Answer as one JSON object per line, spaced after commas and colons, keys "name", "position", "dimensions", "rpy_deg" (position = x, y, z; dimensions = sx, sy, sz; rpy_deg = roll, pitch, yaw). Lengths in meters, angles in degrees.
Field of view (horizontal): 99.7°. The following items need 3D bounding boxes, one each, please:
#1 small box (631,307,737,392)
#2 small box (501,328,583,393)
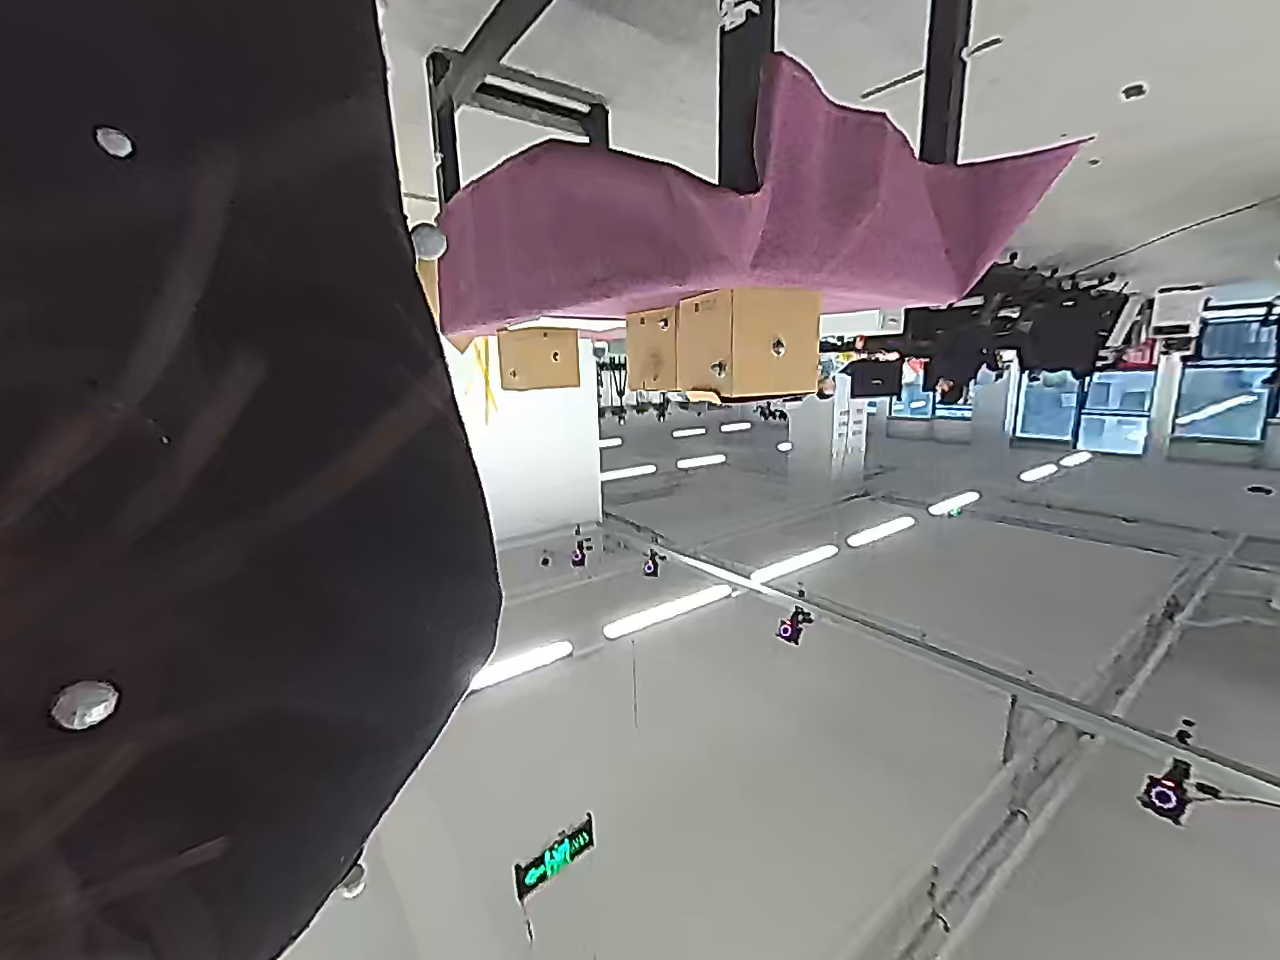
{"name": "small box", "position": [0.092, -0.281, 1.179], "dimensions": [0.179, 0.176, 0.168], "rpy_deg": [-12, -164, -37]}
{"name": "small box", "position": [-0.282, -0.338, 1.526], "dimensions": [0.168, 0.176, 0.179], "rpy_deg": [-11, -165, -38]}
